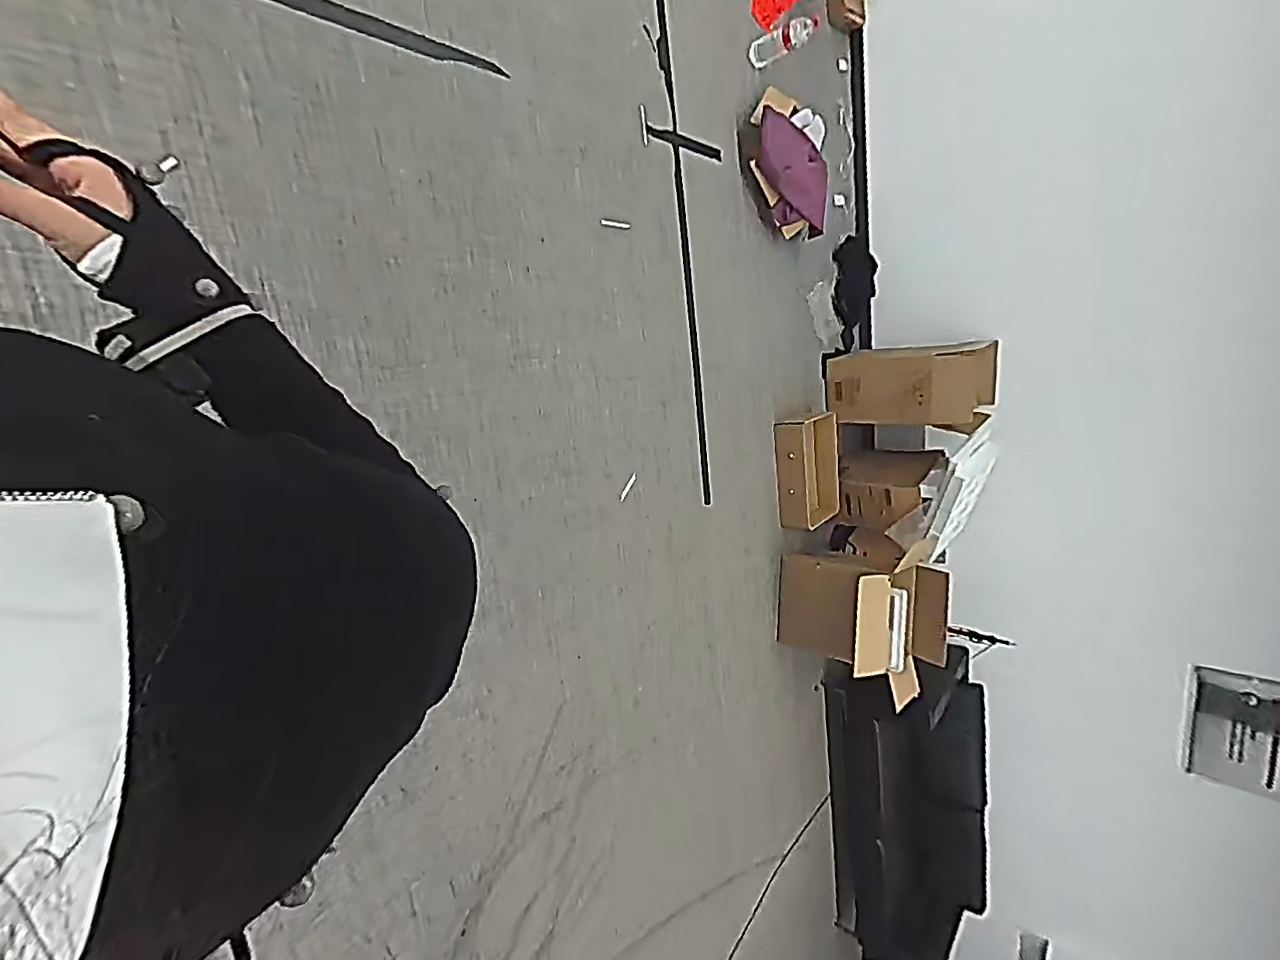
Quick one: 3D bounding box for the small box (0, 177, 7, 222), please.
[{"bbox_3d":[-0.507,-0.242,0.298,0.179,0.176,0.168,-17,117,-46],"label":"small box"}]
